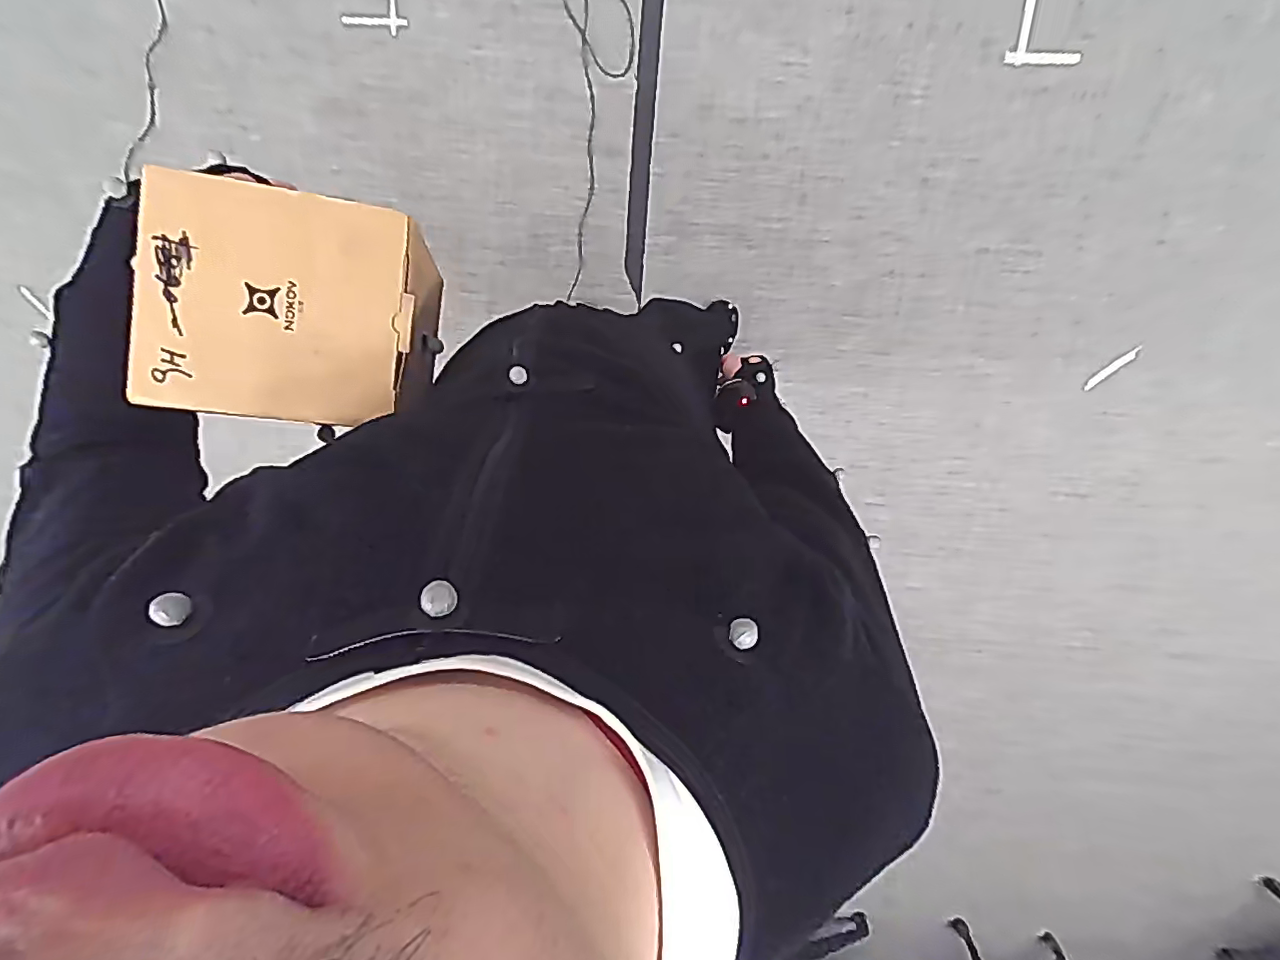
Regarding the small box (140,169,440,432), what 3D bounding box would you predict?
[{"bbox_3d":[-0.280,-0.133,0.477,0.179,0.176,0.168,6,92,-14],"label":"small box"}]
